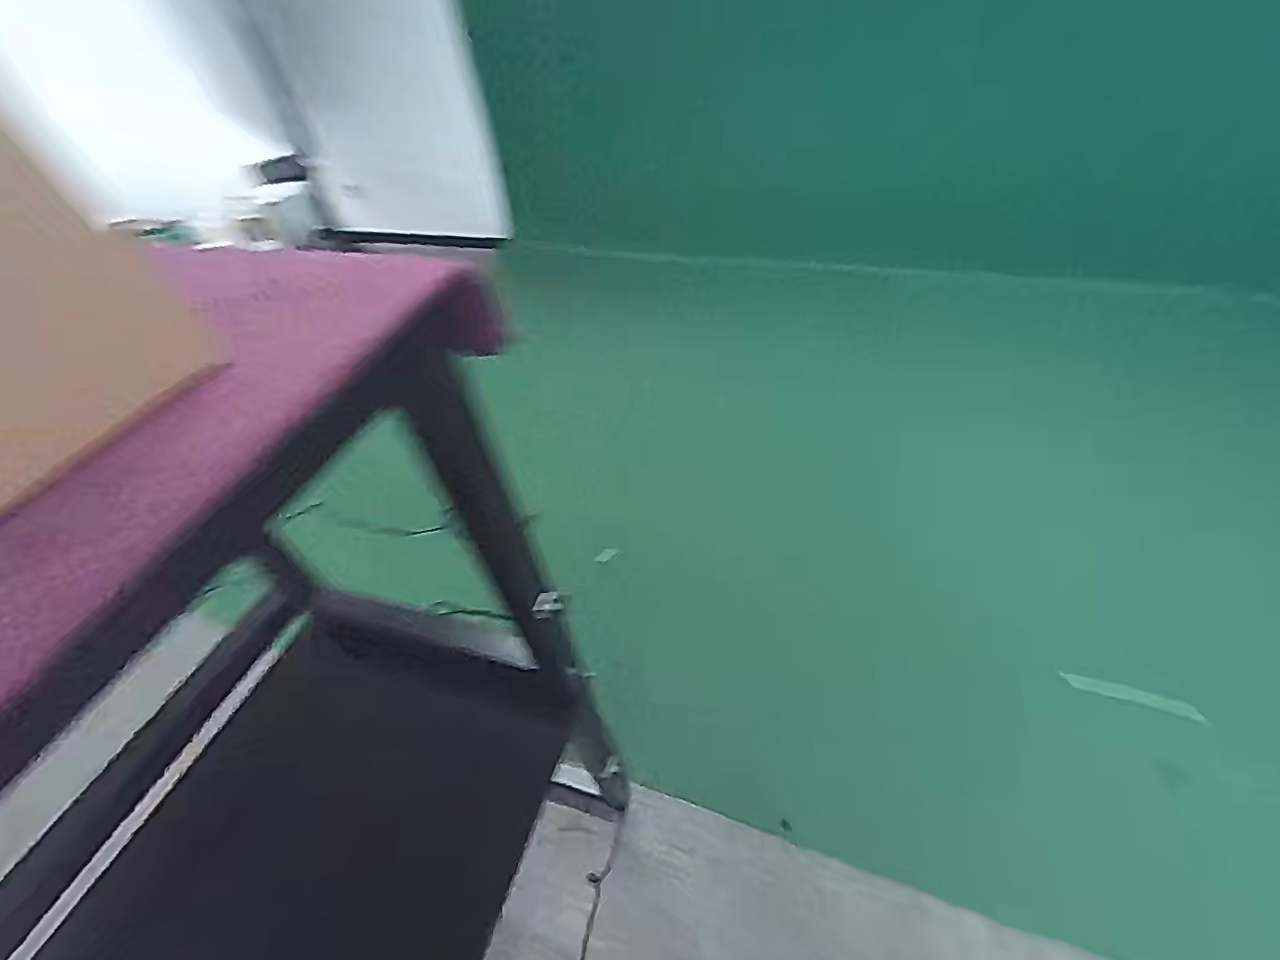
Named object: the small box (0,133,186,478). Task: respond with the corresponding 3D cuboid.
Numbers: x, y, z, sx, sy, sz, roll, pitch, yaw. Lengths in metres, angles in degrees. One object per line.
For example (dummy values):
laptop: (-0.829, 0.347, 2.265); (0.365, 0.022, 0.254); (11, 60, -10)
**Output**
small box: (-0.385, -0.088, 0.251); (0.168, 0.176, 0.179); (9, 48, 18)
